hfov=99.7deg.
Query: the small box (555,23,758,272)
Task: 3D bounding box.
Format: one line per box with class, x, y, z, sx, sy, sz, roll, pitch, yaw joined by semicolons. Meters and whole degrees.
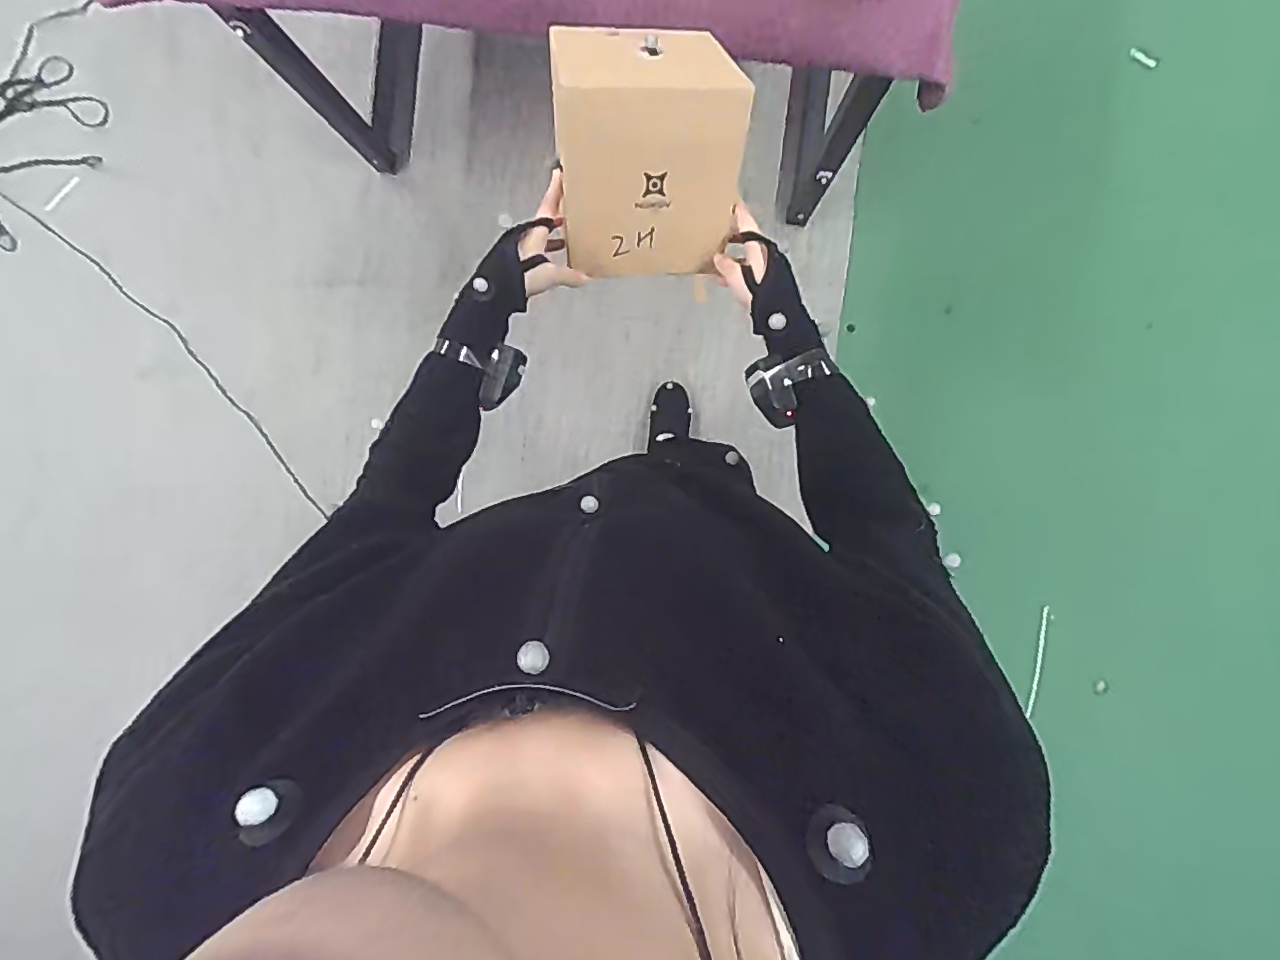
small box;0.003;-0.339;0.556;0.168;0.179;0.176;-4;53;-8
